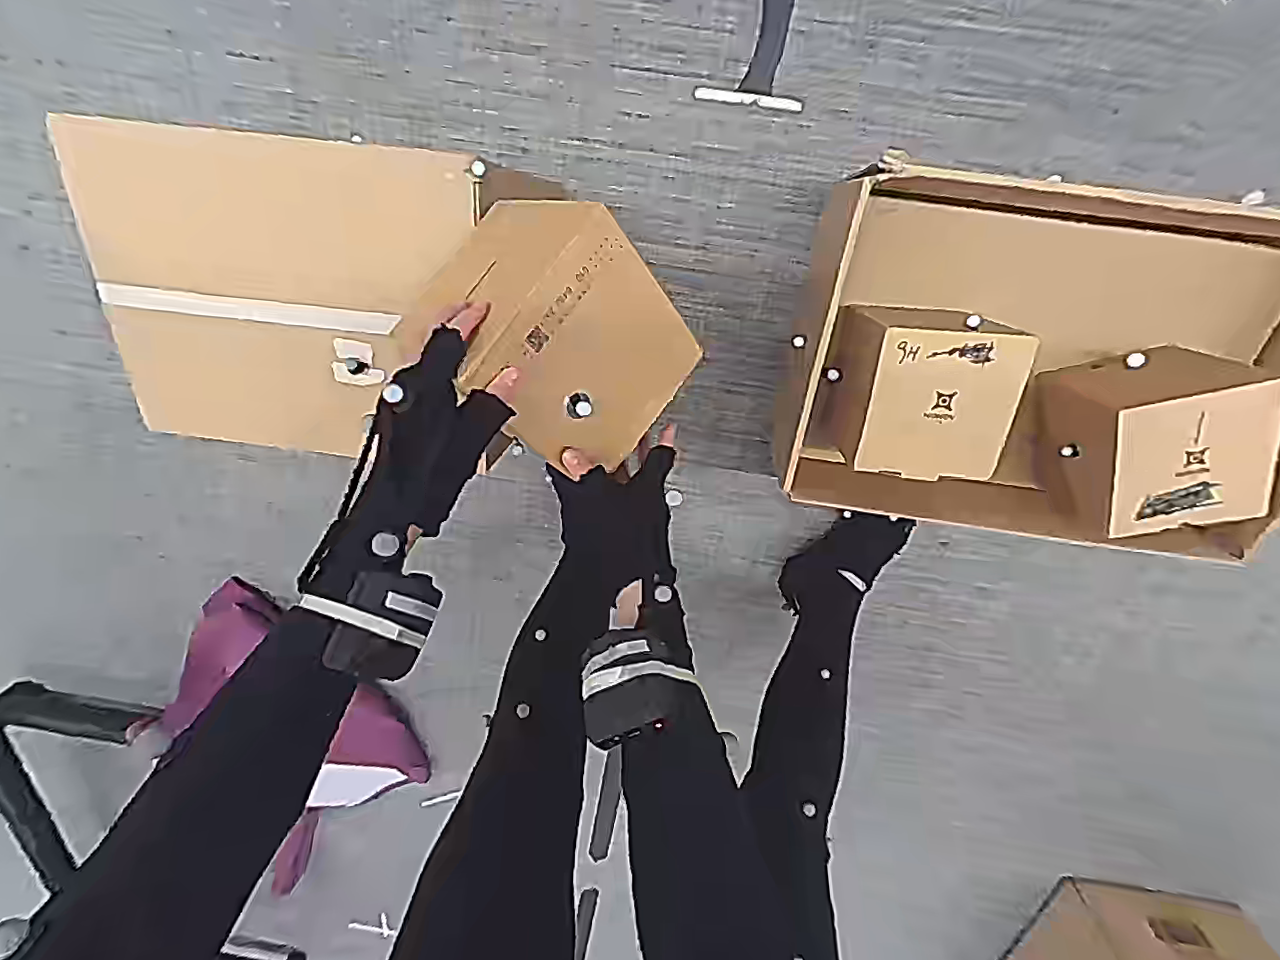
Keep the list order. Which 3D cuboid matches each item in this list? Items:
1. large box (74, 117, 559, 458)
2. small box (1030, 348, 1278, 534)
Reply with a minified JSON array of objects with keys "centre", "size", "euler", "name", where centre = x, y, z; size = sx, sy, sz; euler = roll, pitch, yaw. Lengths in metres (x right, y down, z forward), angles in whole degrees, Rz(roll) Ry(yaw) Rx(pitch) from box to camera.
[{"centre":[-0.334,-0.242,0.691],"size":[0.408,0.320,0.320],"euler":[6,116,2],"name":"large box"},{"centre":[0.642,-0.056,0.705],"size":[0.168,0.176,0.179],"euler":[-12,113,12],"name":"small box"}]
